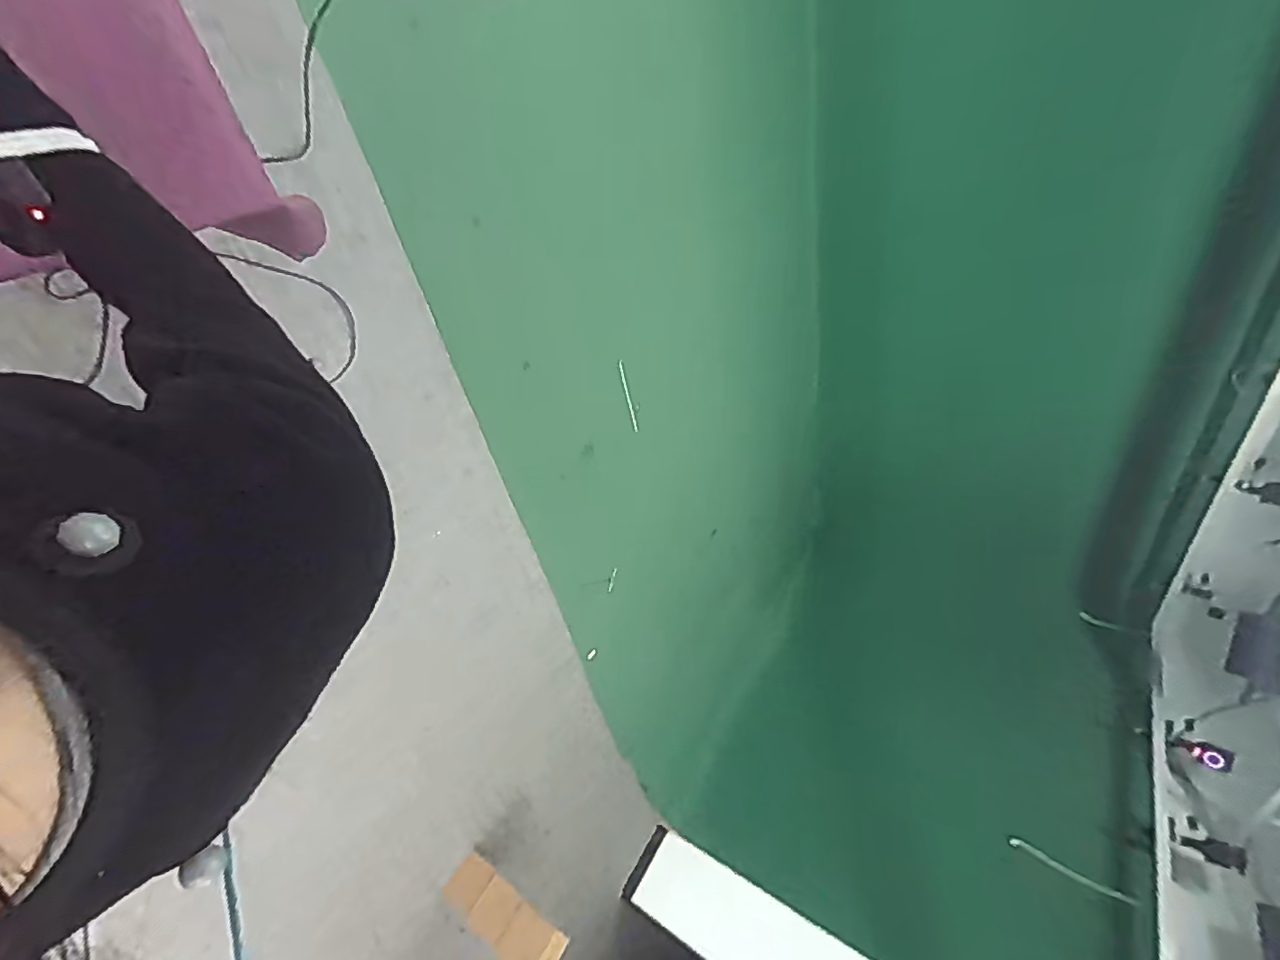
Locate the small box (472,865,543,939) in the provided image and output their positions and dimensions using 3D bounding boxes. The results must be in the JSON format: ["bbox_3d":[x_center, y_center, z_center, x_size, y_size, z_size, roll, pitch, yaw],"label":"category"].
[{"bbox_3d":[-0.517,1.651,2.105,0.179,0.176,0.168,-51,138,-34],"label":"small box"}]

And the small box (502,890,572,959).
[{"bbox_3d":[-0.389,1.685,2.007,0.179,0.176,0.168,-50,139,-34],"label":"small box"}]

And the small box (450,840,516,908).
[{"bbox_3d":[-0.646,1.621,2.204,0.179,0.176,0.168,-51,139,-34],"label":"small box"}]
